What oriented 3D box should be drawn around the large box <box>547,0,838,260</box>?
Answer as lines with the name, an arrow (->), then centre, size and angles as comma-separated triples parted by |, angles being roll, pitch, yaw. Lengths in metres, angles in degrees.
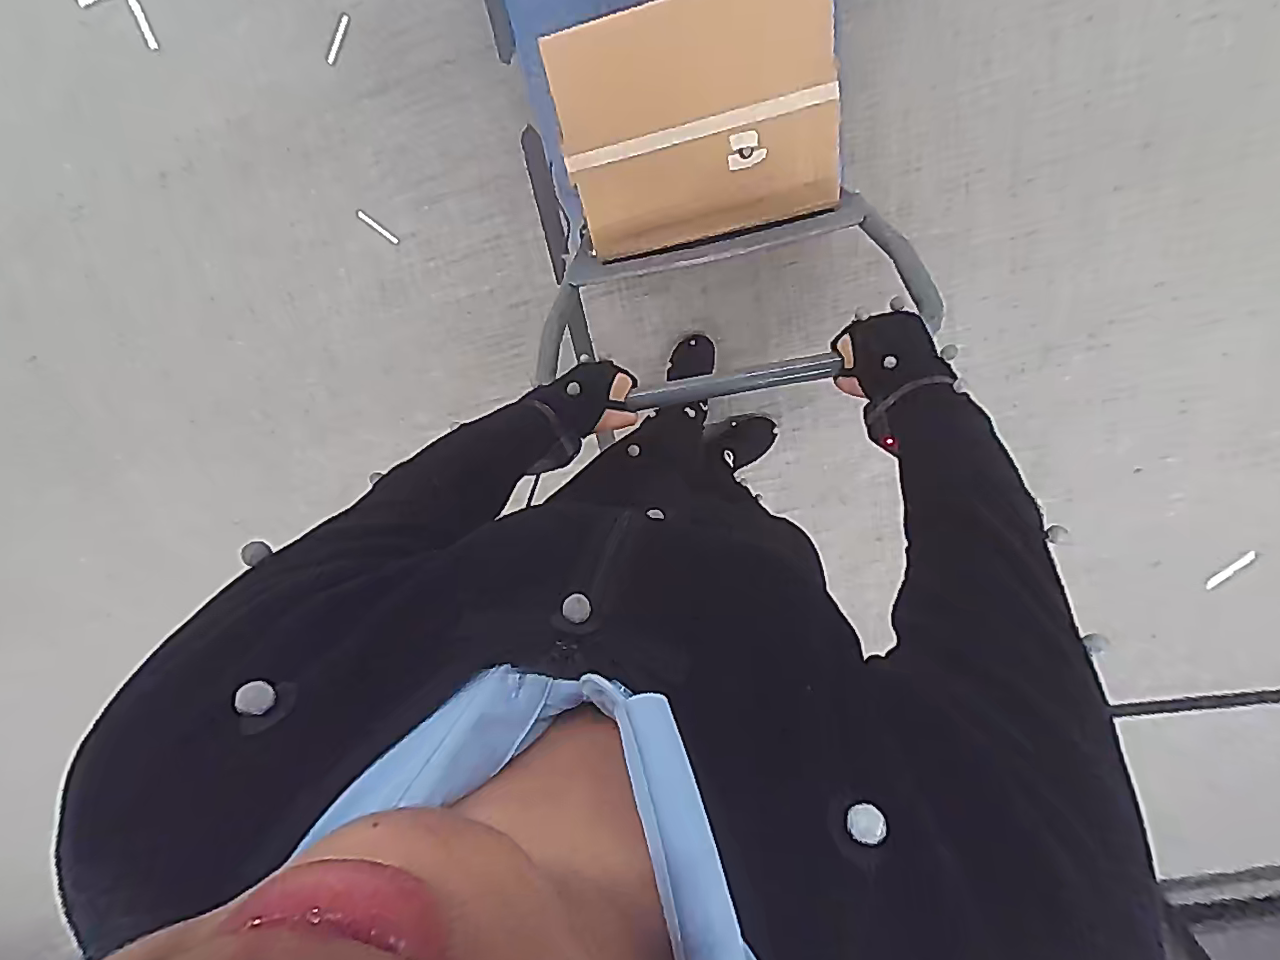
large box -> 0.098, -0.624, 0.947 | 0.408, 0.320, 0.320 | -10, 125, 10
